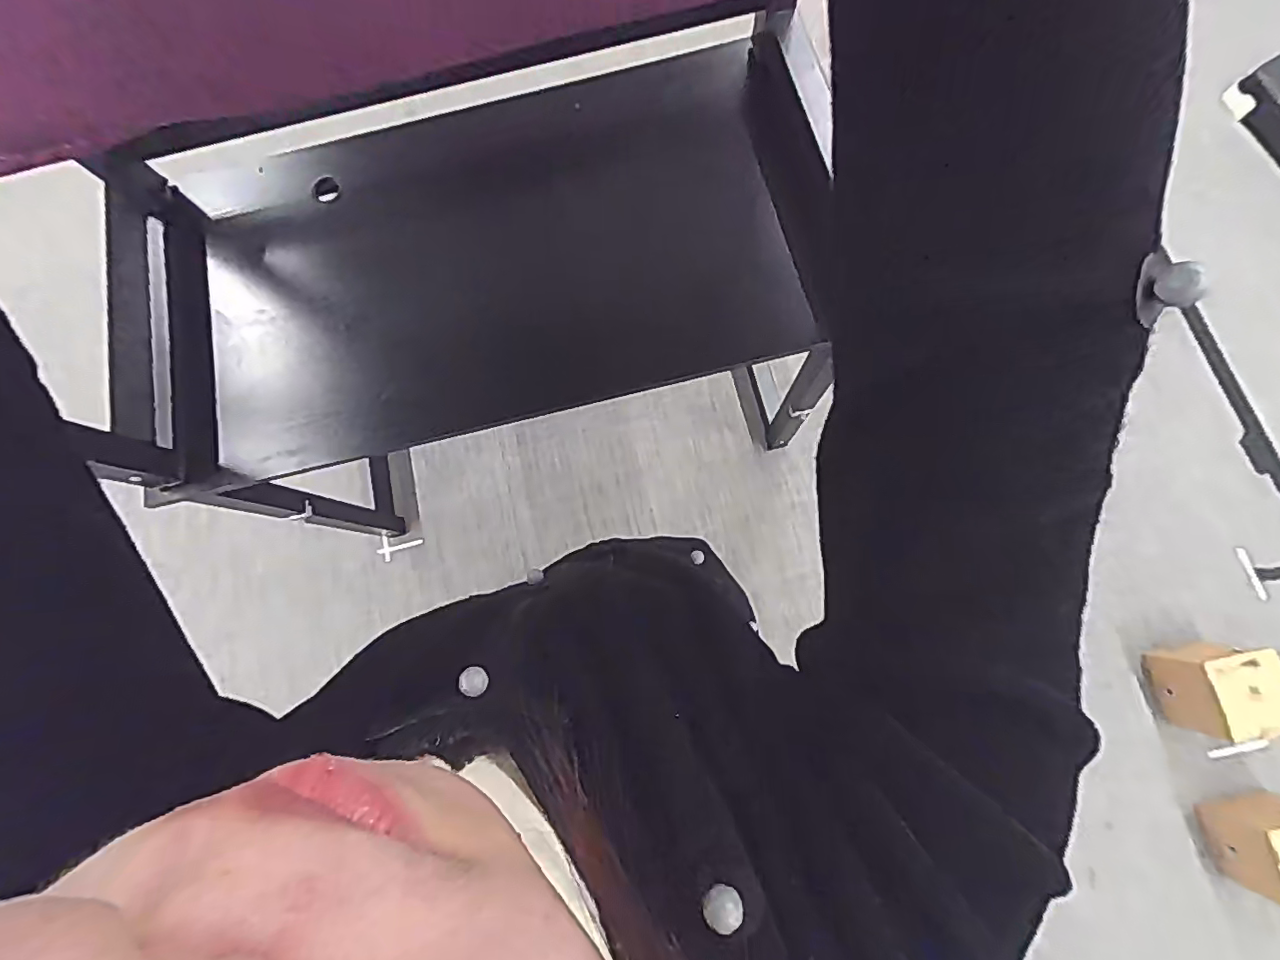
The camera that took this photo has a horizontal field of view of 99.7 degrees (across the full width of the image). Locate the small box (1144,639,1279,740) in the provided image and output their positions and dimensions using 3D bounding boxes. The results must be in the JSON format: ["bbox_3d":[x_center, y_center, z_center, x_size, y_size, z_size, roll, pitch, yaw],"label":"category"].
[{"bbox_3d":[1.377,0.492,1.290,0.168,0.176,0.179,-12,79,1],"label":"small box"}]

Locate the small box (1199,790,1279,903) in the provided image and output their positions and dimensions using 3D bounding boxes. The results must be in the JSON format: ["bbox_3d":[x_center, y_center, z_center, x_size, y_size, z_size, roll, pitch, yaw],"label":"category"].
[{"bbox_3d":[1.448,0.826,1.219,0.179,0.176,0.168,-12,78,1],"label":"small box"}]
